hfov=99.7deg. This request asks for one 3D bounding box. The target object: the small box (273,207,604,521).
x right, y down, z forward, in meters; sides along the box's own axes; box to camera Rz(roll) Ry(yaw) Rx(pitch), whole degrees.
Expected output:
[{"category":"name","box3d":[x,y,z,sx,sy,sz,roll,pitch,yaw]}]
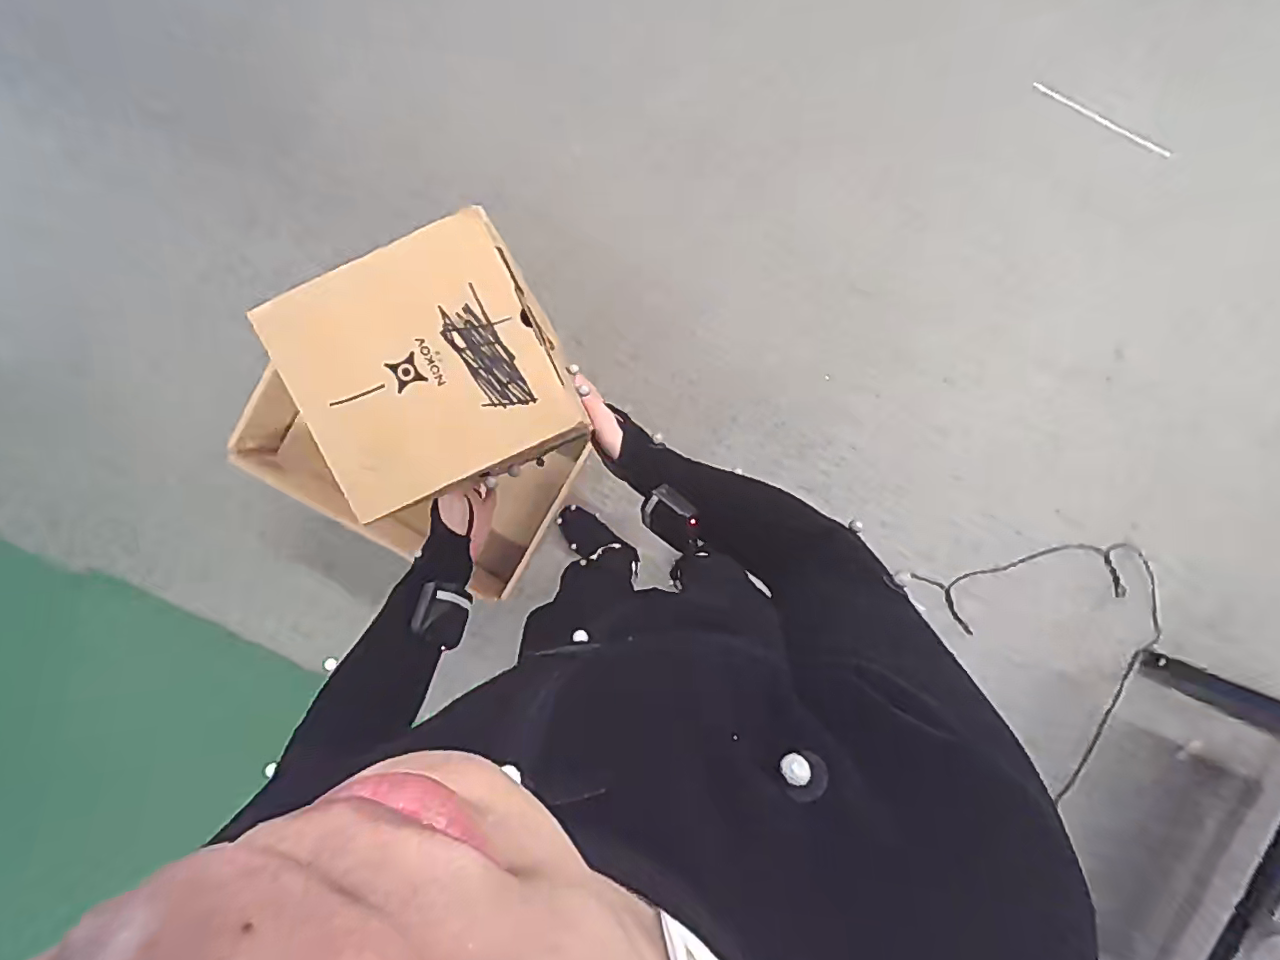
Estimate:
[{"category":"small box","box3d":[-0.142,-0.087,0.451,0.179,0.176,0.168,-25,97,-1]}]
